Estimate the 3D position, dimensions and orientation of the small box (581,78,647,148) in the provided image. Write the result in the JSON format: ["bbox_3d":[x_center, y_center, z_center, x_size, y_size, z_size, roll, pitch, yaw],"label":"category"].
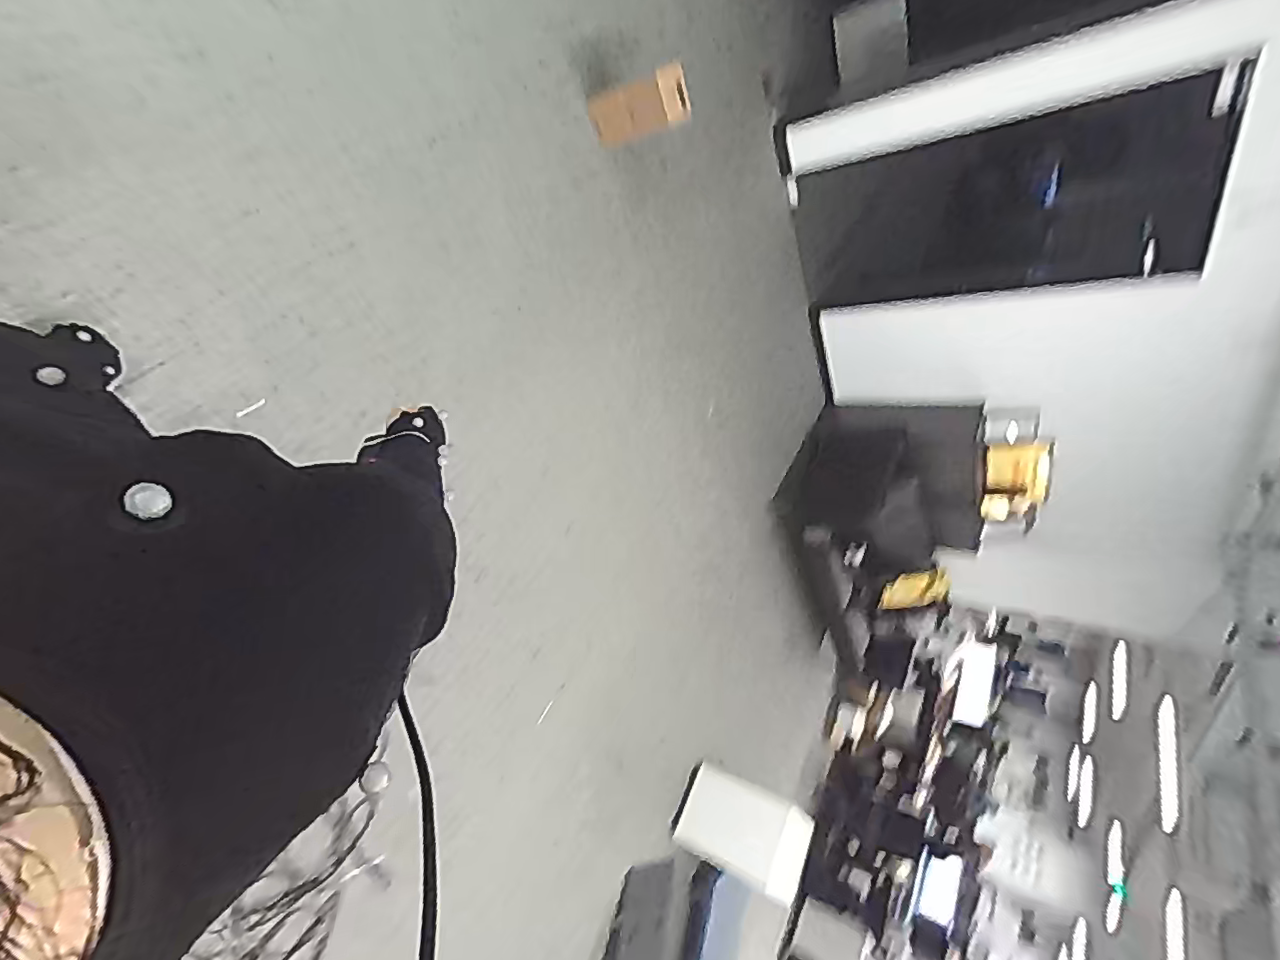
[{"bbox_3d":[-0.105,-1.411,2.084,0.179,0.176,0.168,-52,134,-34],"label":"small box"}]
